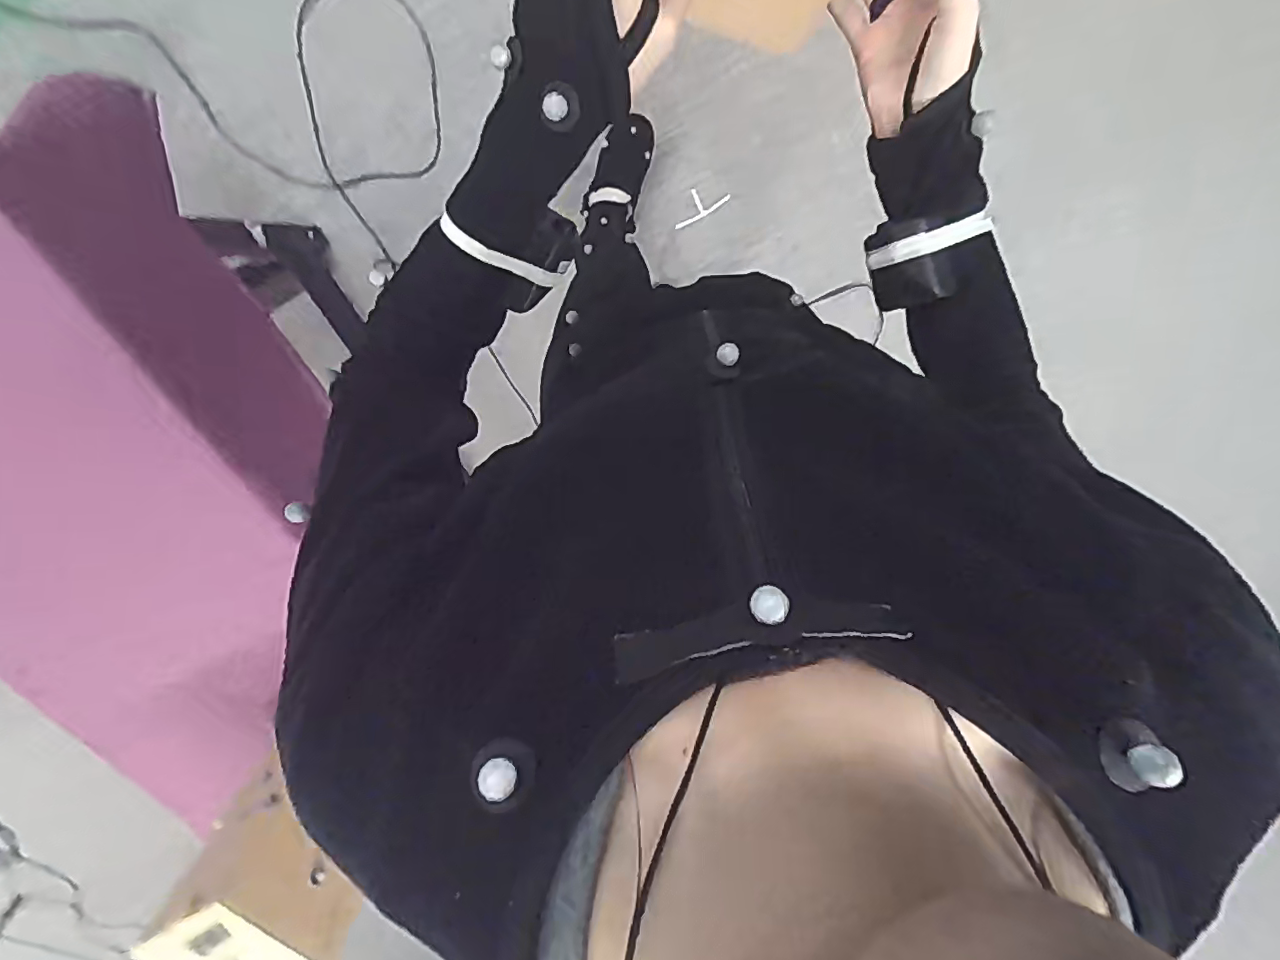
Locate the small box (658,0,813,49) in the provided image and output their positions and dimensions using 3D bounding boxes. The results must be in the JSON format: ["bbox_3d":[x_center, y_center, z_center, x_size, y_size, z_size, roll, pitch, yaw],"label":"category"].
[{"bbox_3d":[0.044,-0.403,0.301,0.176,0.168,0.179,56,139,11],"label":"small box"}]

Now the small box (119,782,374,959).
[{"bbox_3d":[-0.506,0.541,0.725,0.168,0.176,0.179,-32,110,12],"label":"small box"}]
